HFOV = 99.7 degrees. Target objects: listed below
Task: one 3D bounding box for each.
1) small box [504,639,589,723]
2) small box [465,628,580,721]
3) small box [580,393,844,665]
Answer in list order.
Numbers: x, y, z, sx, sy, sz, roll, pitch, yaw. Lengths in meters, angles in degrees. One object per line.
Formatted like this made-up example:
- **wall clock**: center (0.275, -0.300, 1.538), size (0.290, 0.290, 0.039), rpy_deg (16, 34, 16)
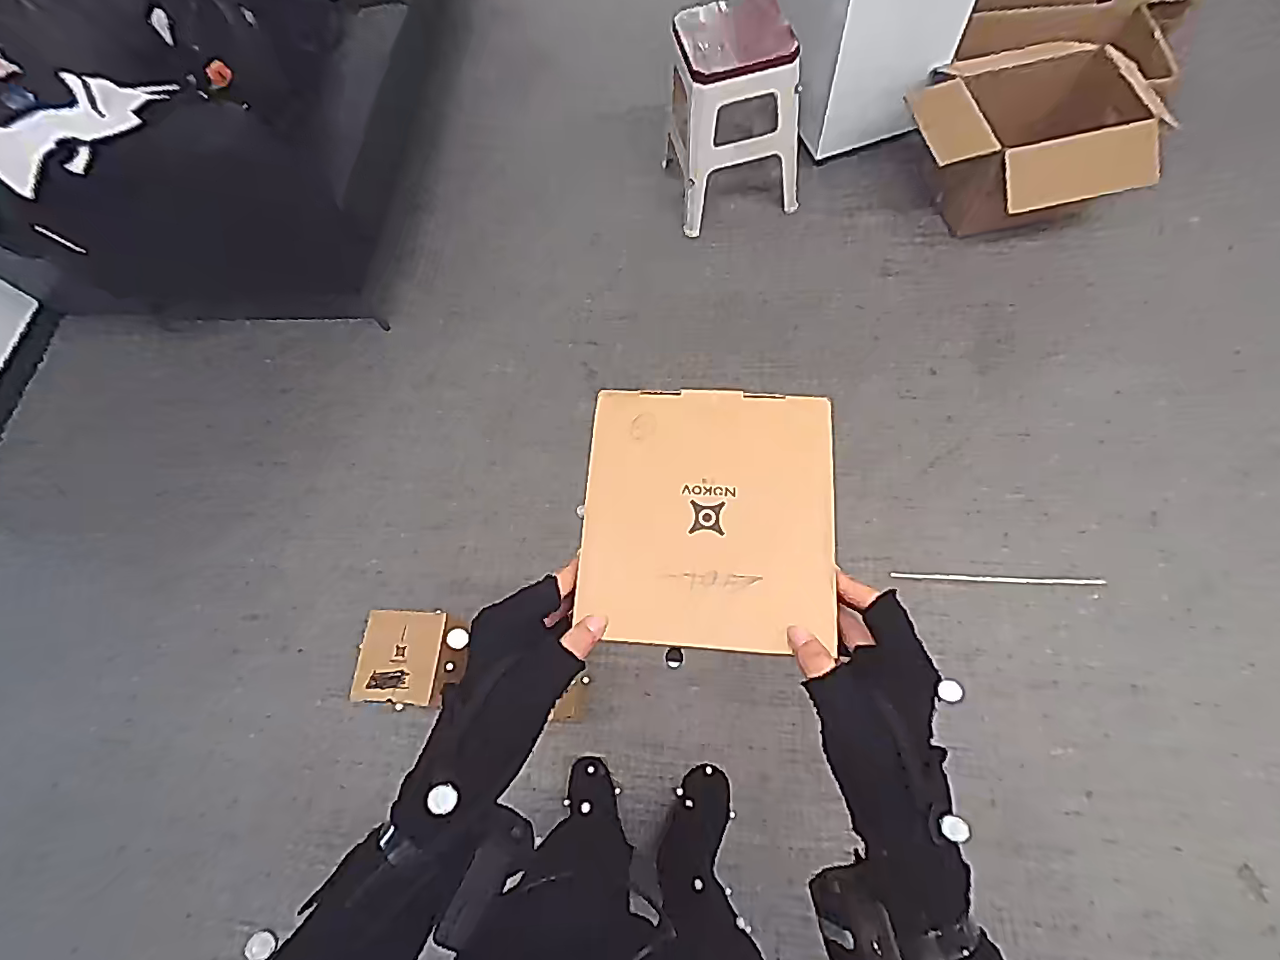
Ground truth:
- **small box**: center (-0.217, 0.462, 1.248), size (0.168, 0.176, 0.179), rpy_deg (0, 67, 7)
- **small box**: center (-0.229, 0.397, 1.099), size (0.179, 0.176, 0.168), rpy_deg (-1, 68, 6)
- **small box**: center (0.054, 0.047, 0.432), size (0.168, 0.176, 0.179), rpy_deg (2, 74, 6)
